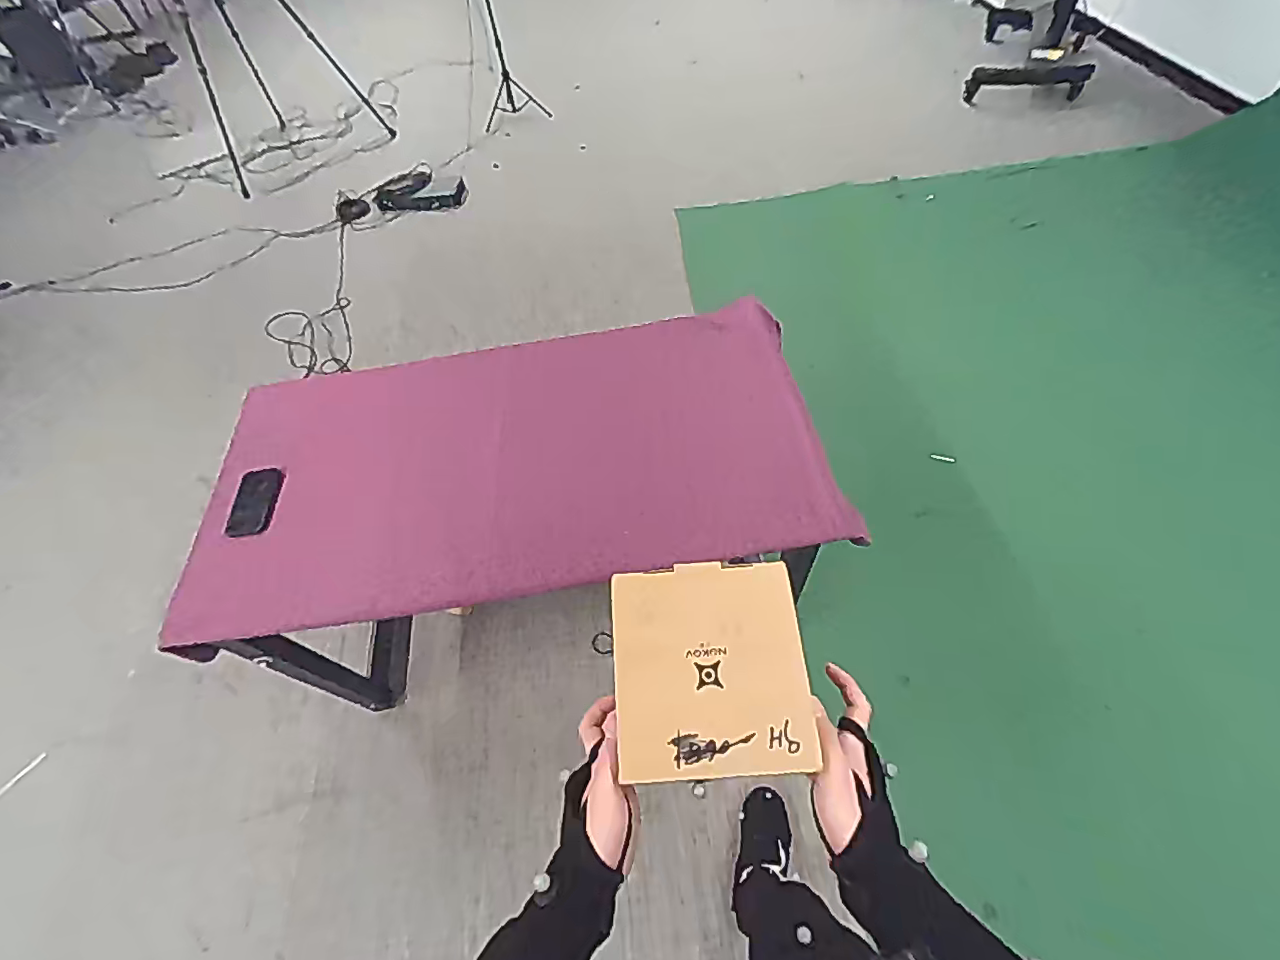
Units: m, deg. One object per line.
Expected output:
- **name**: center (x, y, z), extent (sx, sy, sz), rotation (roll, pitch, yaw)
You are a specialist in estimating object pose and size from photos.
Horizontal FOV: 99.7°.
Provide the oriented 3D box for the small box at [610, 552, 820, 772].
- **small box**: center (0.061, 0.185, 0.532), extent (0.168, 0.176, 0.179), rotation (-5, 63, 3)
